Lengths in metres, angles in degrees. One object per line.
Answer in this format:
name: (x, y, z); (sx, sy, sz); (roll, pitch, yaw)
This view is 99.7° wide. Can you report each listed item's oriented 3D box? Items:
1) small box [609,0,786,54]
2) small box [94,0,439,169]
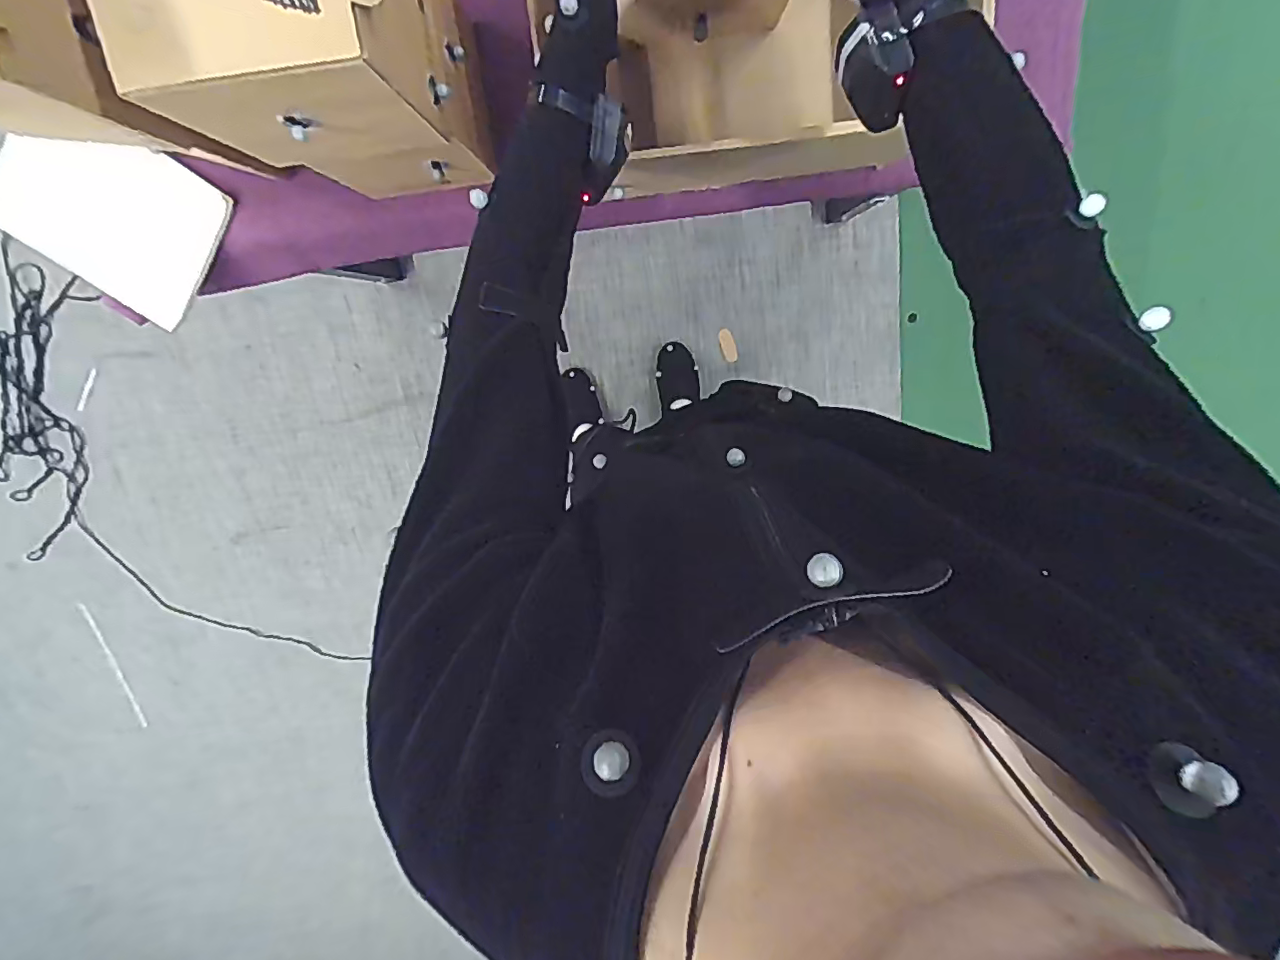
small box: (0.052, -0.523, 0.485); (0.179, 0.176, 0.168); (-5, 106, 2)
small box: (-0.274, -0.366, 0.422); (0.179, 0.176, 0.168); (-7, 104, 1)
